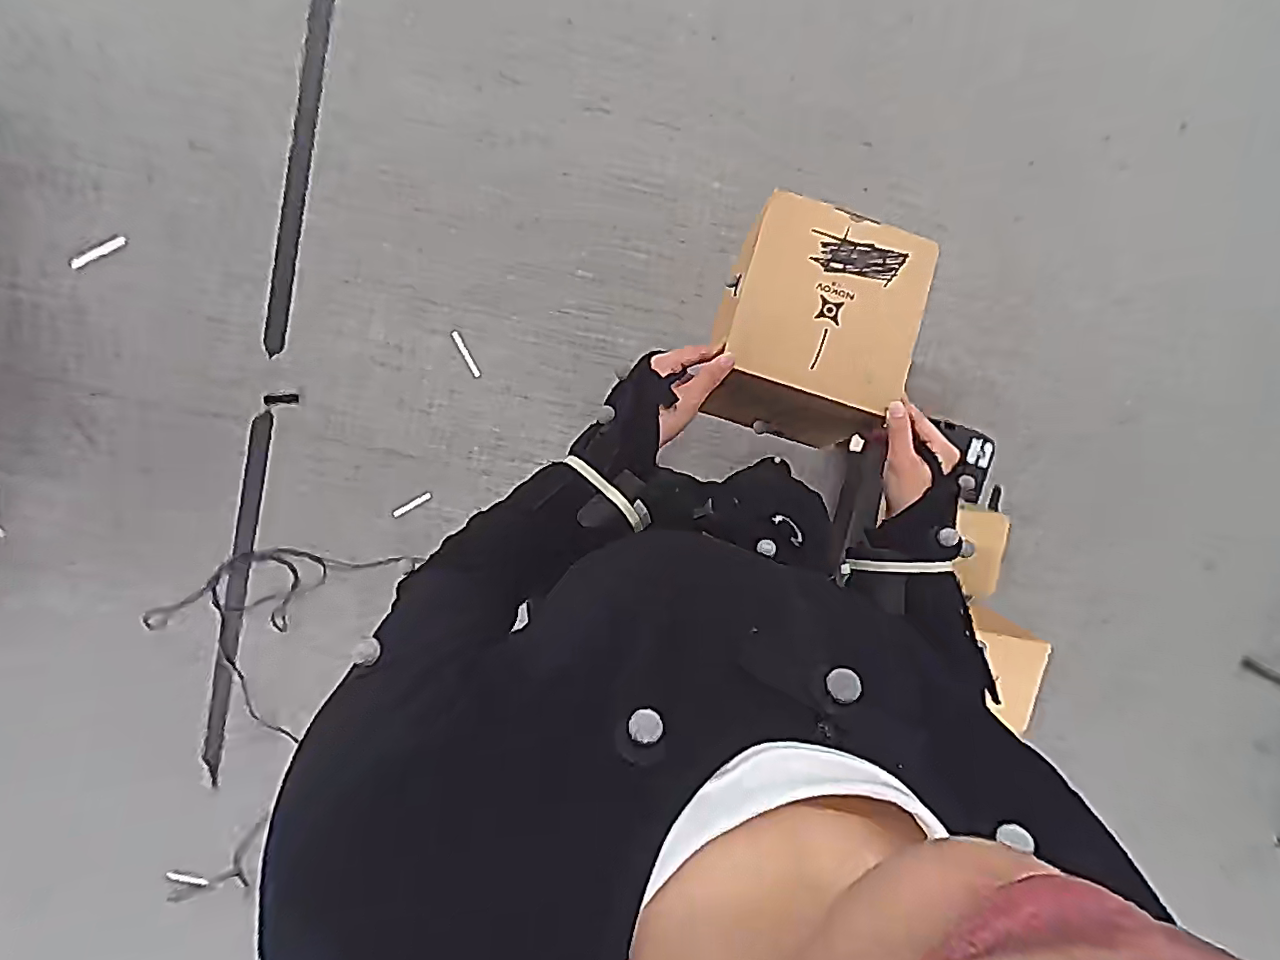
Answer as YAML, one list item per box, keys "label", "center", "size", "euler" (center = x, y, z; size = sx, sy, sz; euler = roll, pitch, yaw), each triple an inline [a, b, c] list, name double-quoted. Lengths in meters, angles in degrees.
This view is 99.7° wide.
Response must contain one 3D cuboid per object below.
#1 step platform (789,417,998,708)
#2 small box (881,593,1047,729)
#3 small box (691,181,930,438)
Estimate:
- label: "step platform"
  center: [0.598, 0.195, 1.308]
  size: [0.286, 0.204, 0.684]
  euler: [12, 96, -4]
- label: "small box"
  center: [0.577, 0.320, 0.985]
  size: [0.179, 0.176, 0.168]
  euler: [10, 98, -3]
- label: "small box"
  center: [0.160, -0.159, 0.562]
  size: [0.168, 0.176, 0.179]
  euler: [17, 84, -2]
